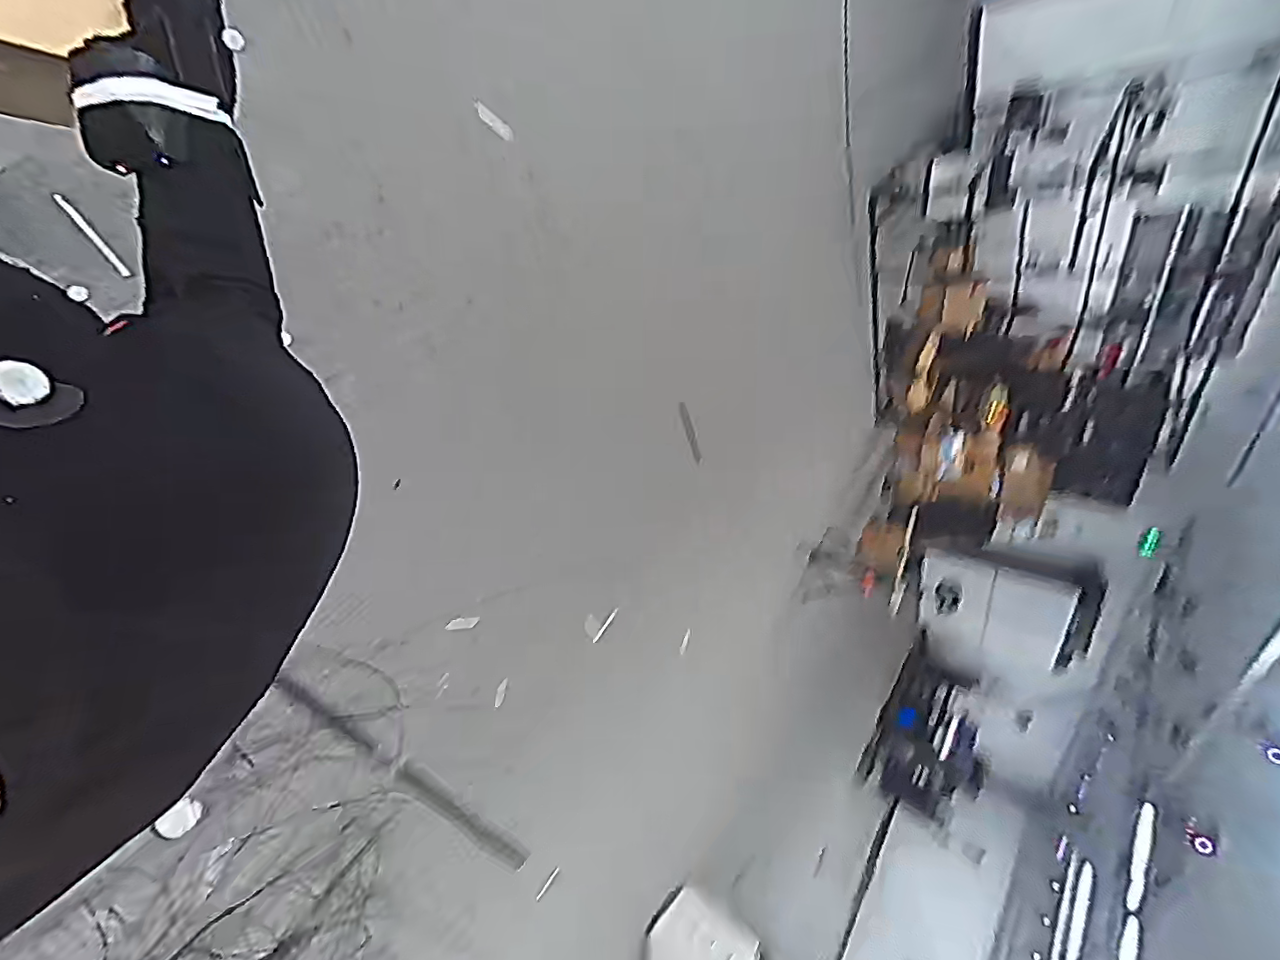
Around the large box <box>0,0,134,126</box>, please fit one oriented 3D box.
[{"bbox_3d":[-0.579,-0.425,0.270,0.408,0.320,0.320,-15,118,-49],"label":"large box"}]
